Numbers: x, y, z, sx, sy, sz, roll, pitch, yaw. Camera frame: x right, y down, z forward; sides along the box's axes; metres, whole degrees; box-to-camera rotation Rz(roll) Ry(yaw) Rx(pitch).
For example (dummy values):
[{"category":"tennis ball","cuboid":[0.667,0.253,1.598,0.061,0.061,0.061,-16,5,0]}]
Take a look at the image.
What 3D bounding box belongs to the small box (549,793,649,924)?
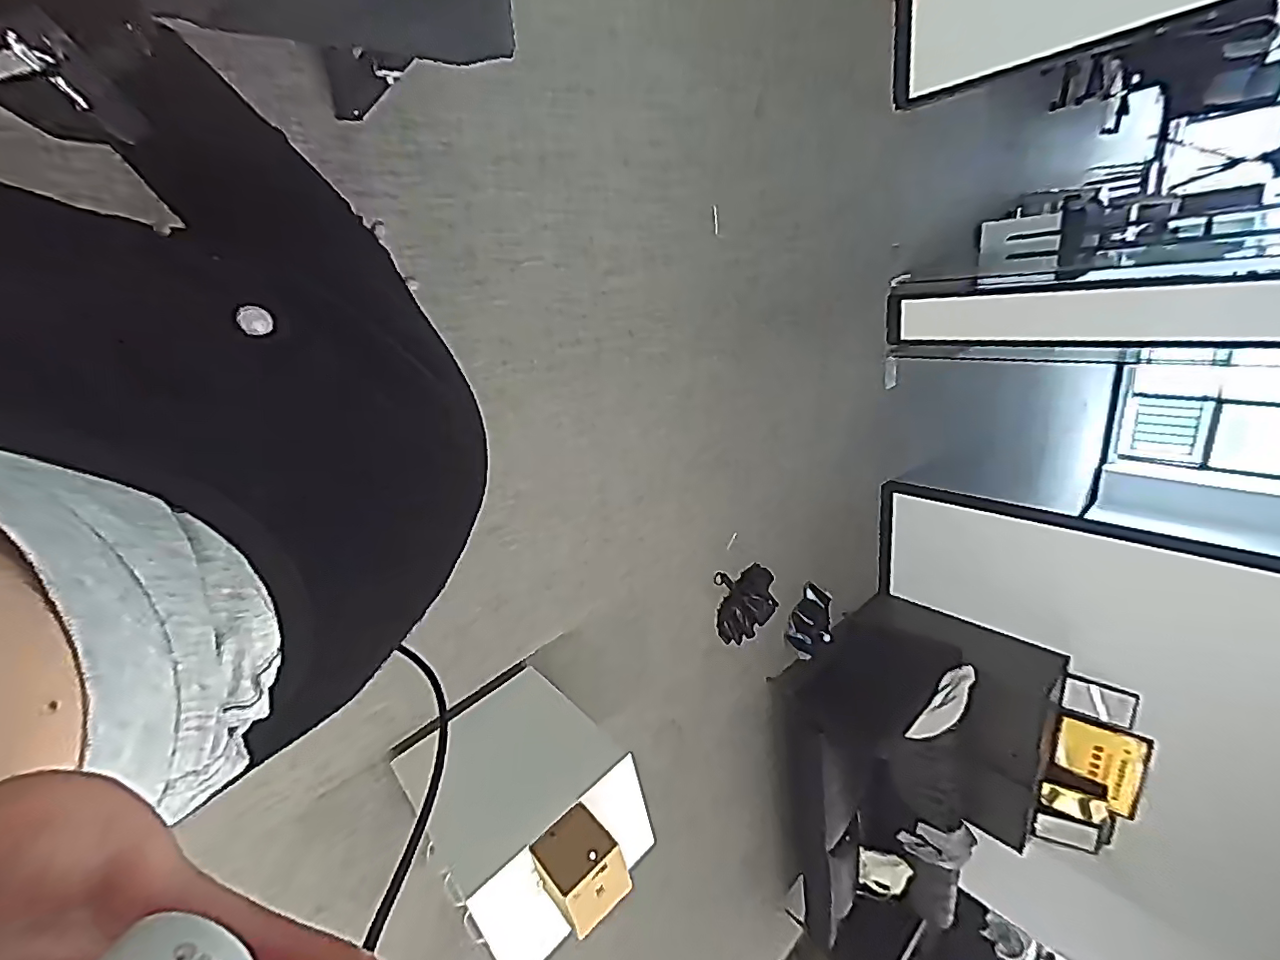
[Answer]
[{"category":"small box","cuboid":[-0.103,0.937,1.357,0.168,0.176,0.179,-30,121,-33]}]
